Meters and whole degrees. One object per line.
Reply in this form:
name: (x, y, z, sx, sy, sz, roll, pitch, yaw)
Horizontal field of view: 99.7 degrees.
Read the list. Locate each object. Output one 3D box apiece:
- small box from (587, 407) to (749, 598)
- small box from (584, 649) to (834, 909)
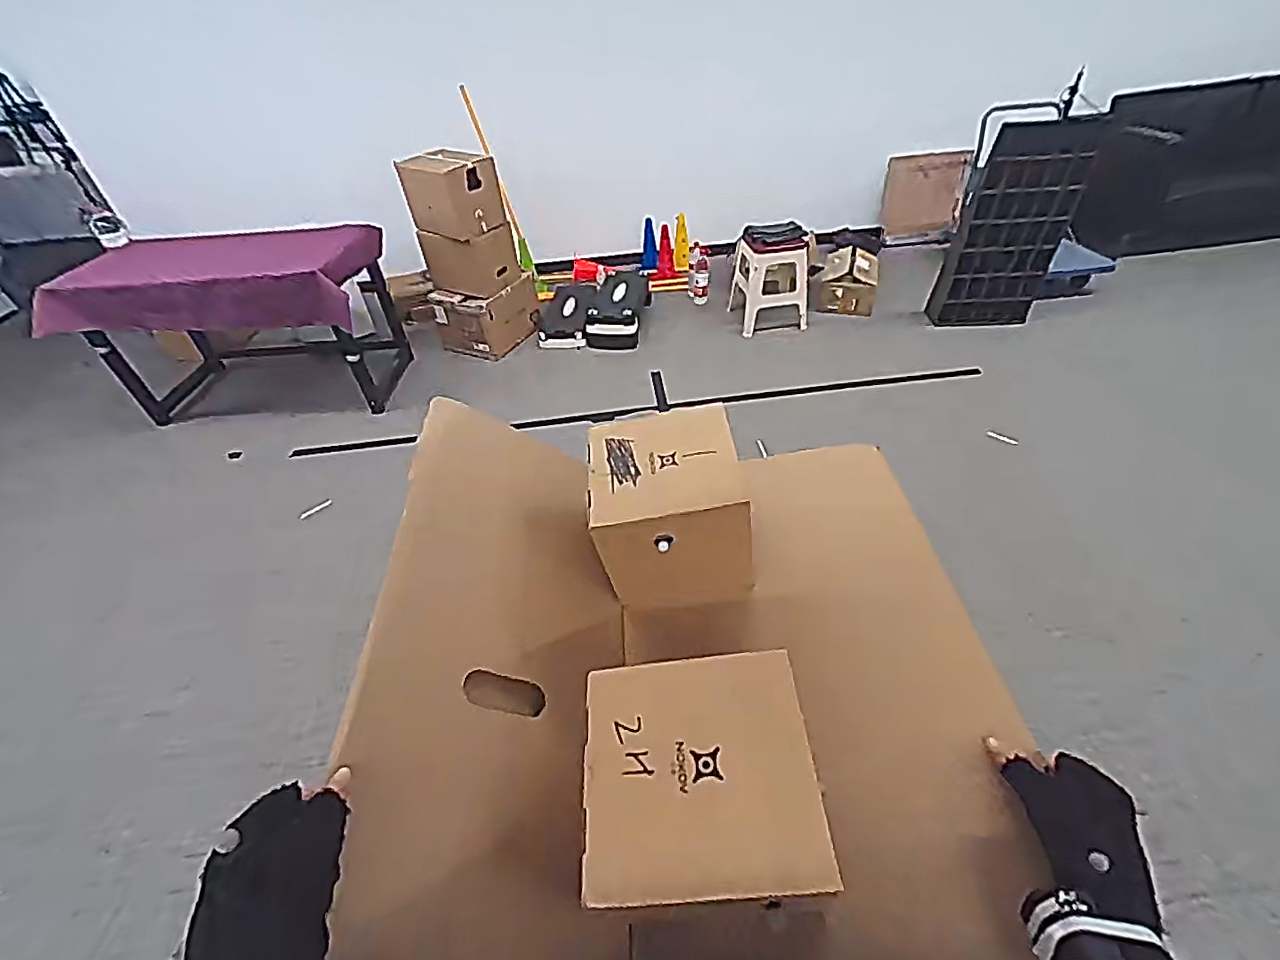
small box: (0.038, 0.035, 0.698, 0.179, 0.176, 0.168, -10, 48, 5)
small box: (0.058, 0.270, 0.481, 0.179, 0.176, 0.168, -9, 47, 7)
